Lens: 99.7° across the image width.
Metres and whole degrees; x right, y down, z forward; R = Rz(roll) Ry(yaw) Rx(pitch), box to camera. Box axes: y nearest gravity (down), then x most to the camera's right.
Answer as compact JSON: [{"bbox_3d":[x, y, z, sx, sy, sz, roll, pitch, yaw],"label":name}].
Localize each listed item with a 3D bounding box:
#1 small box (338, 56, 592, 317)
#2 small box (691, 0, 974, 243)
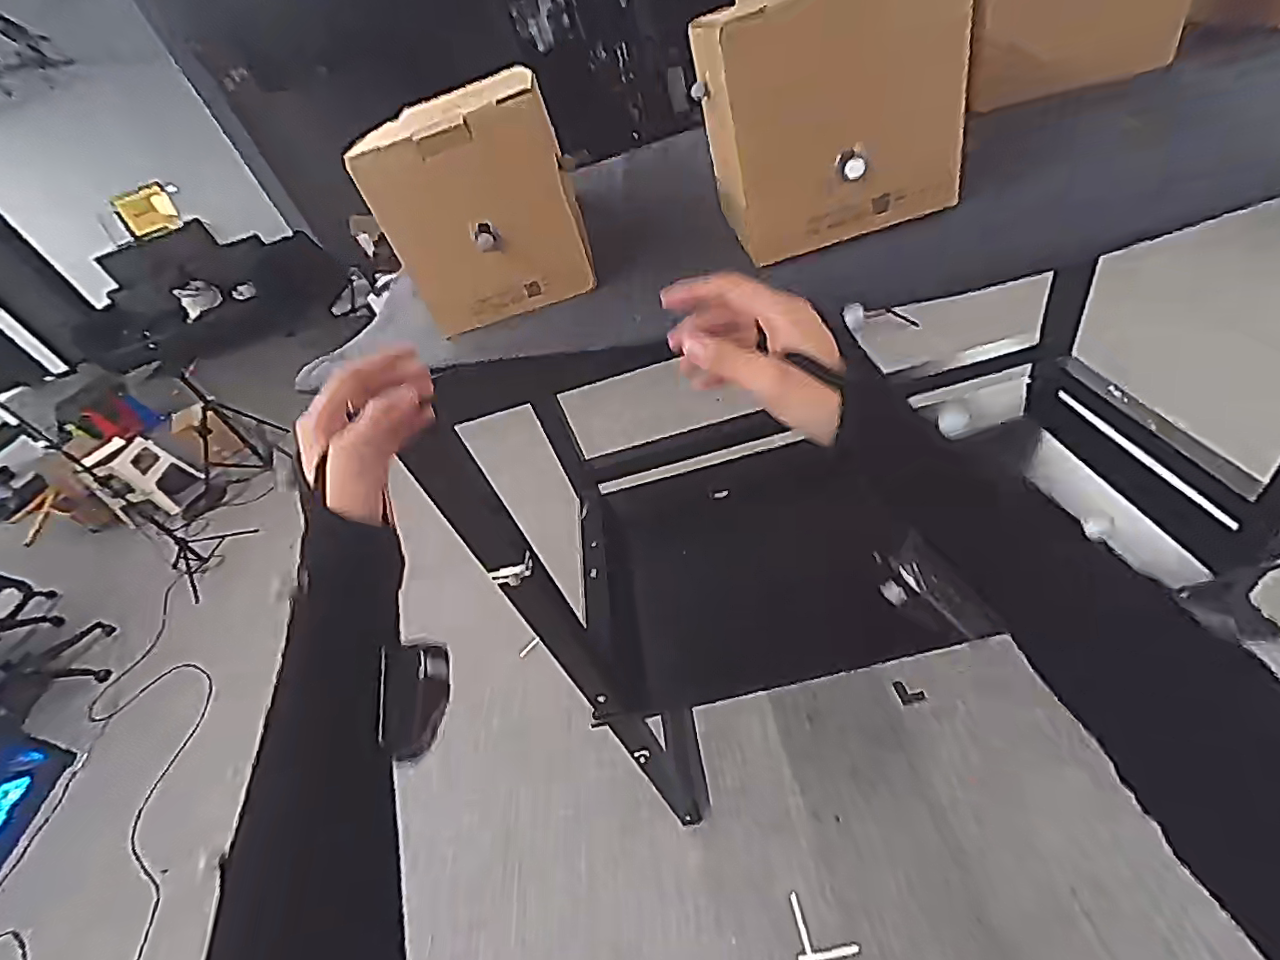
[{"bbox_3d":[-0.153,-0.282,0.535,0.168,0.176,0.179,-17,42,4],"label":"small box"},{"bbox_3d":[0.147,-0.322,0.451,0.168,0.176,0.179,-15,40,9],"label":"small box"}]
